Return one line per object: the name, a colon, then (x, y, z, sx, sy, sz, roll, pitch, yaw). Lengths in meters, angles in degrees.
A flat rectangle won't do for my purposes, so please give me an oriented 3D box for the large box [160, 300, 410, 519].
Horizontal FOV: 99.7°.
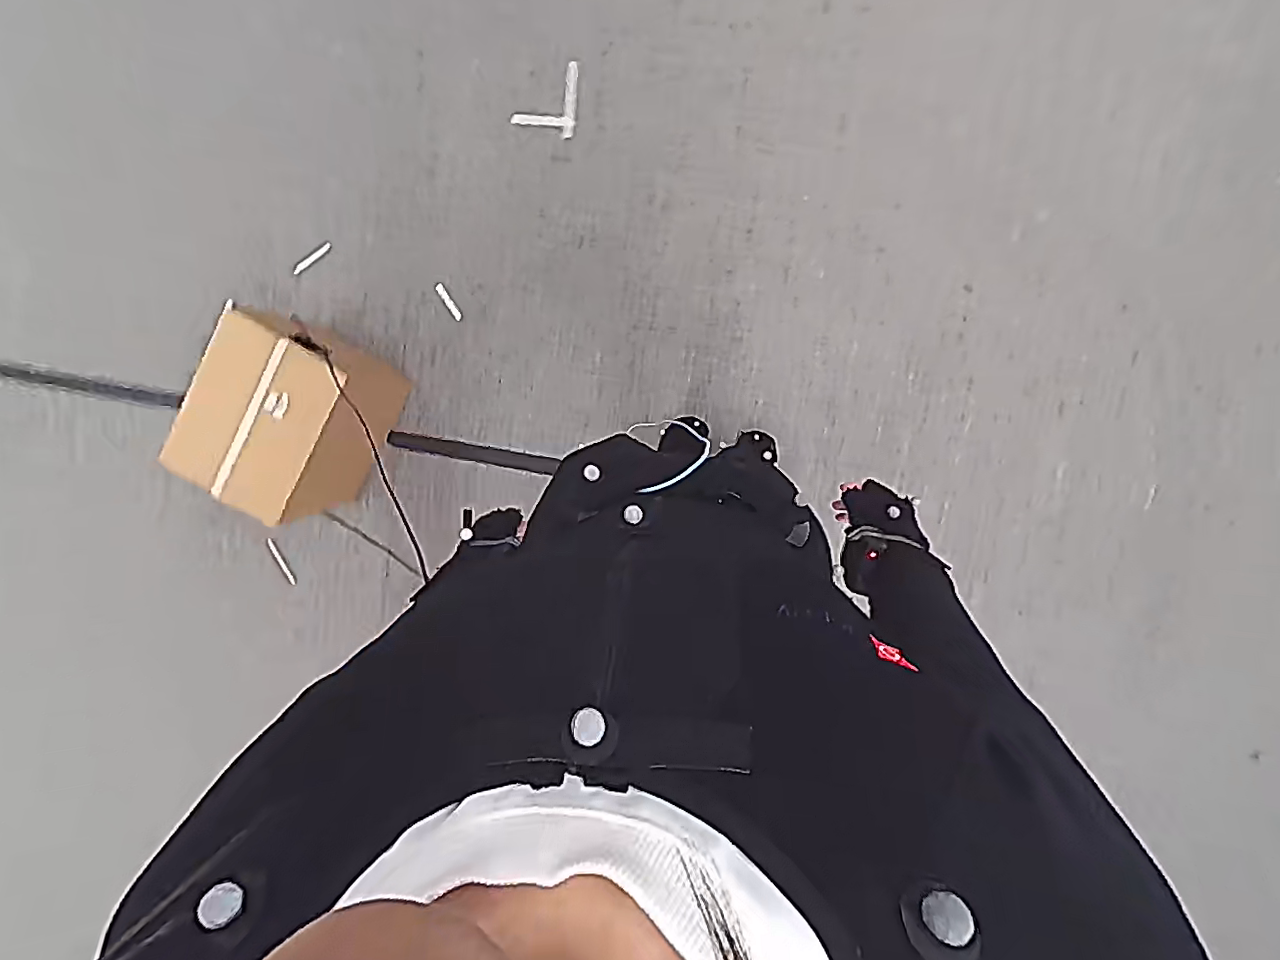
large box: (-0.863, -0.167, 1.358, 0.320, 0.320, 0.408, 31, 98, -1)
